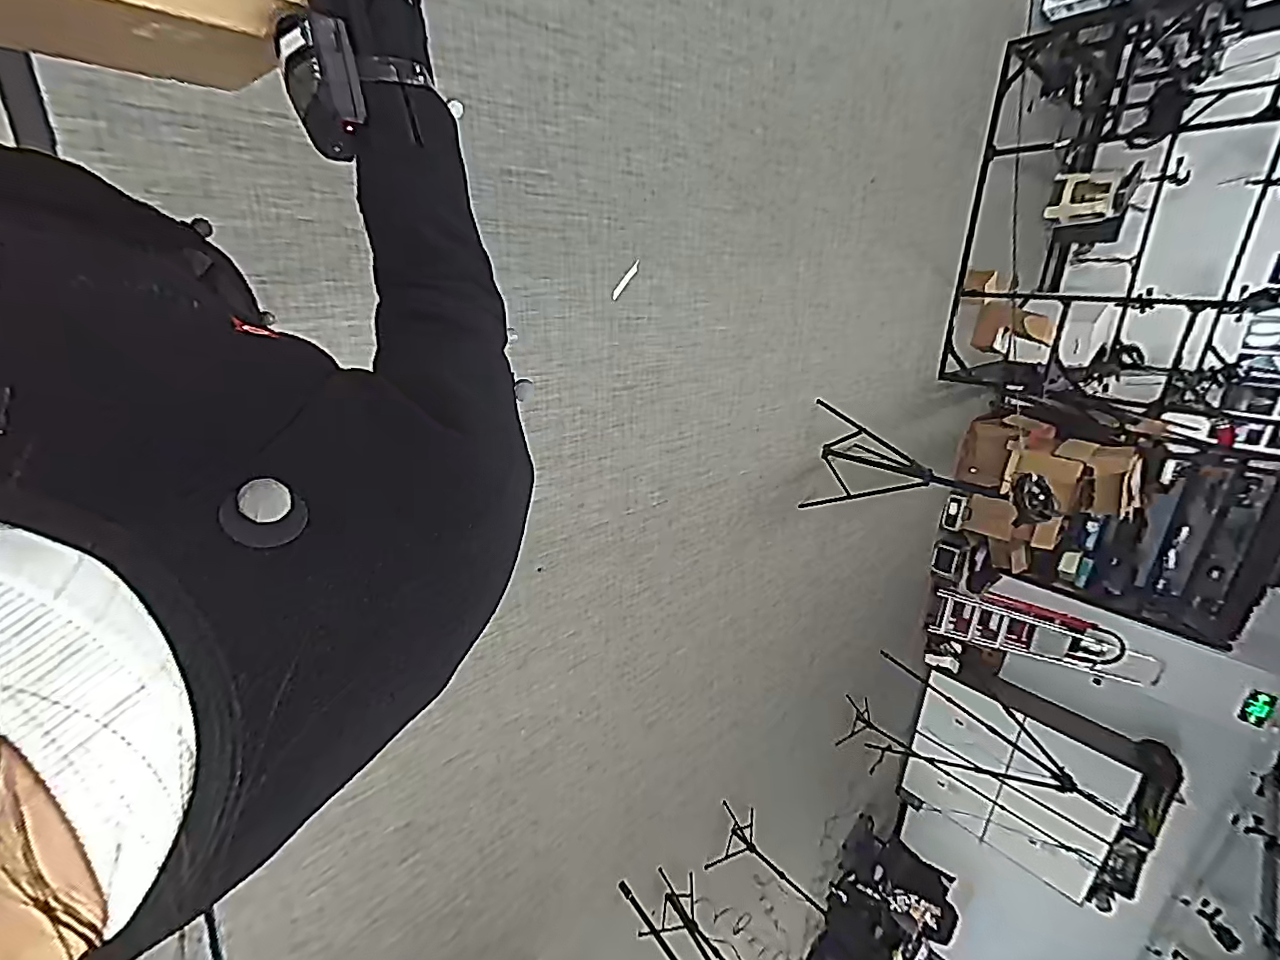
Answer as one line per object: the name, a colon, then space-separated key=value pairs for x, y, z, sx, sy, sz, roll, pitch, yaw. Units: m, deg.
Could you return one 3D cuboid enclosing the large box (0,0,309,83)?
large box: x=-0.450 y=-0.437 z=0.265 sx=0.408 sy=0.320 sz=0.320 roll=-16 pitch=124 yaw=-39
